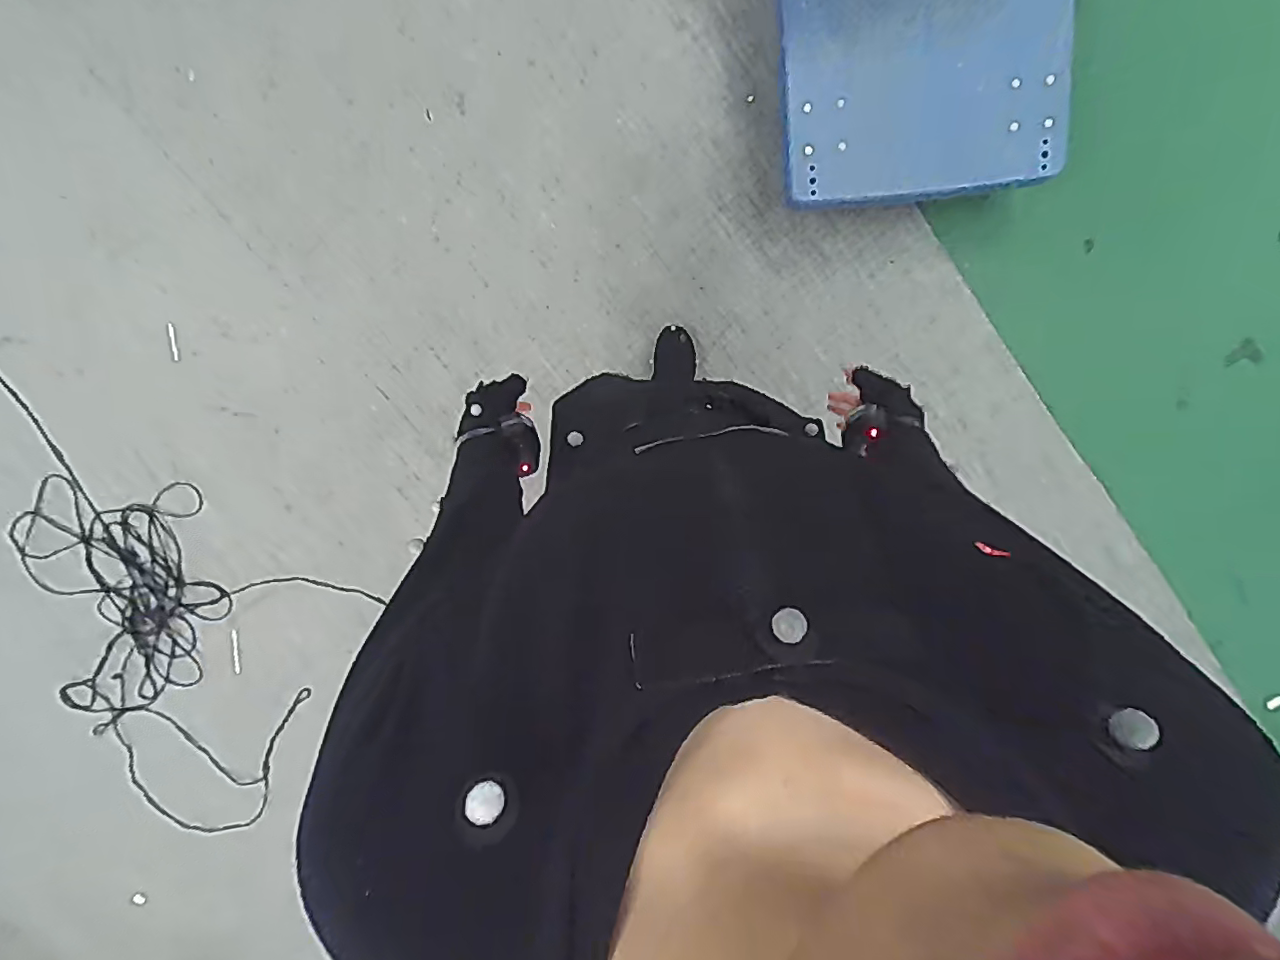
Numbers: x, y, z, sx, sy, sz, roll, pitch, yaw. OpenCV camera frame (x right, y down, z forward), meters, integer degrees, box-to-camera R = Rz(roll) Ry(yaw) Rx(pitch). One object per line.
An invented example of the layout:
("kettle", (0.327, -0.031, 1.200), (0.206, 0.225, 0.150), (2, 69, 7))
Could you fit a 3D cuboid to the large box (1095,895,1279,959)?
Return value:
("large box", (1.396, 1.297, 1.267), (0.408, 0.320, 0.320), (-38, 103, 9))
